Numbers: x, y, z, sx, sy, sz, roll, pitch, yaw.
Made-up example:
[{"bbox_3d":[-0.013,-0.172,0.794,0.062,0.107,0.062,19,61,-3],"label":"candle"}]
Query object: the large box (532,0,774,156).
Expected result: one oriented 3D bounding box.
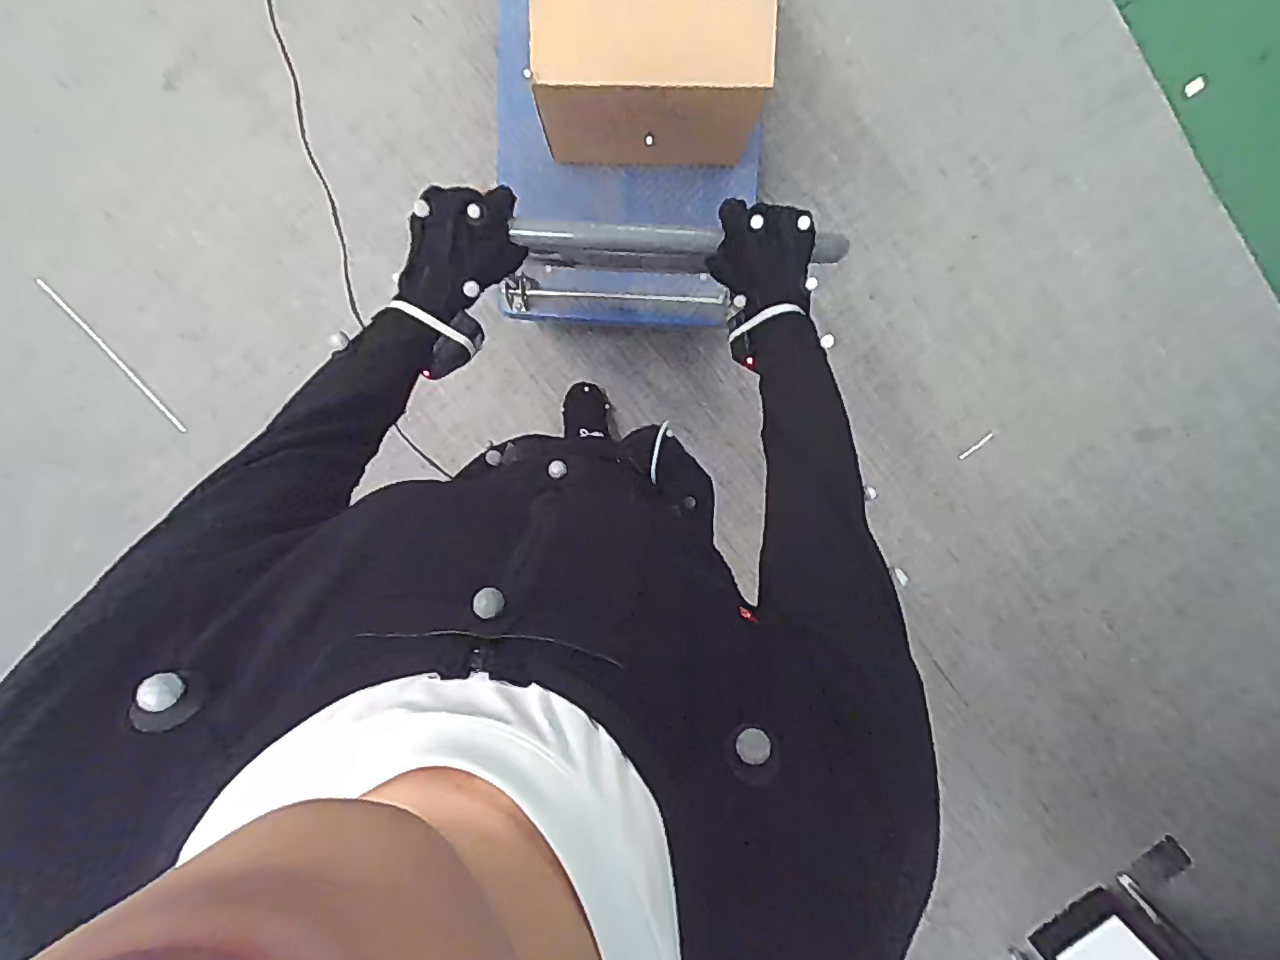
[{"bbox_3d":[0.020,-0.842,1.023,0.408,0.320,0.320,-1,98,-1],"label":"large box"}]
